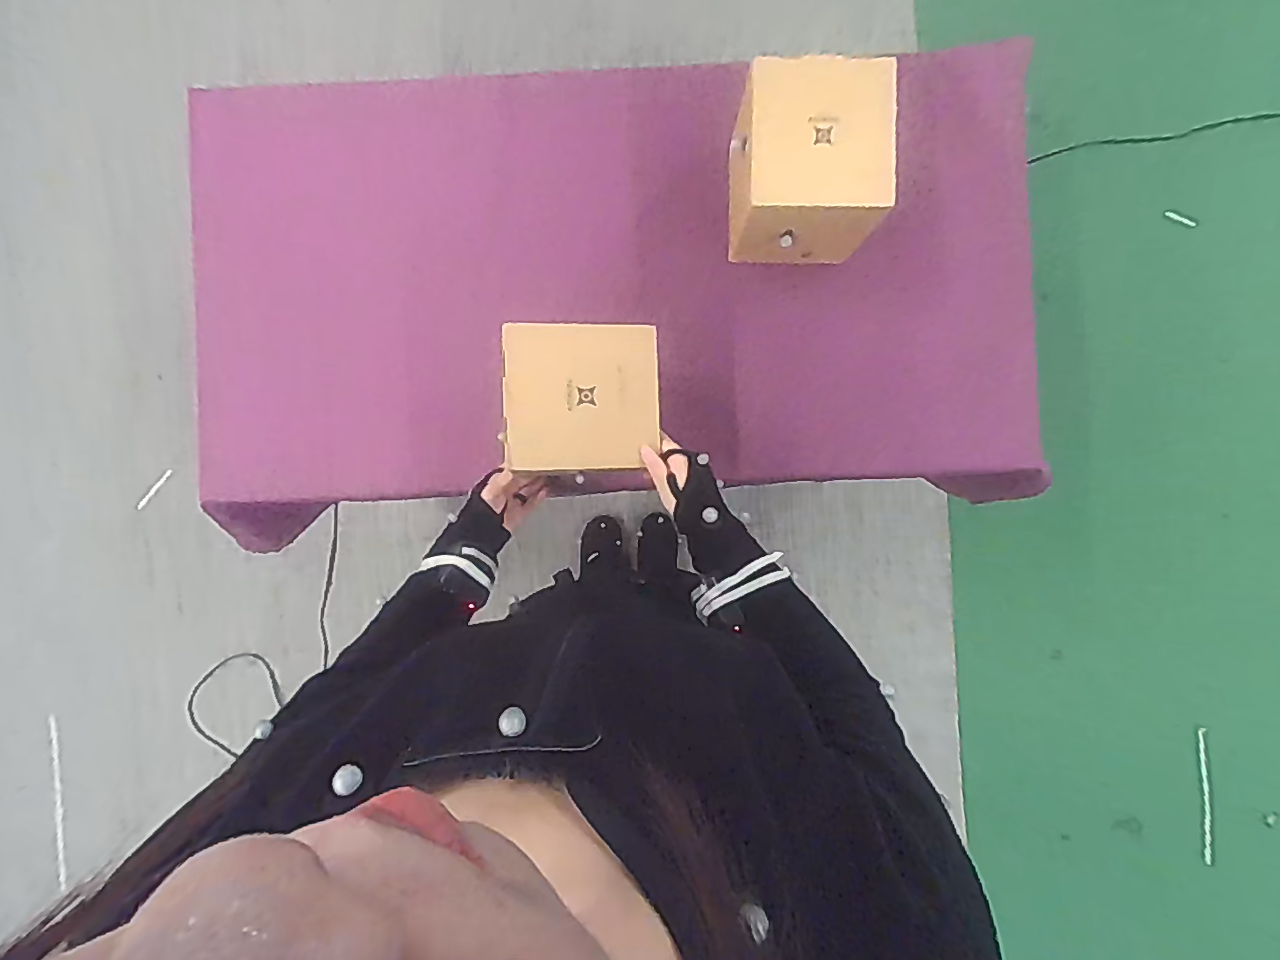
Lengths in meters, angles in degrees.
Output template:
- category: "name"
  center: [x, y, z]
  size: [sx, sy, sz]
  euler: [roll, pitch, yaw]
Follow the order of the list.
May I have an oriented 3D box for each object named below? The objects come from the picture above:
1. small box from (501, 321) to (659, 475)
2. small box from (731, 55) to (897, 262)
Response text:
- category: "small box"
  center: [-0.076, -0.093, 0.684]
  size: [0.179, 0.176, 0.168]
  euler: [-1, 88, -8]
- category: "small box"
  center: [0.211, -0.396, 0.695]
  size: [0.168, 0.176, 0.179]
  euler: [1, 89, 2]
